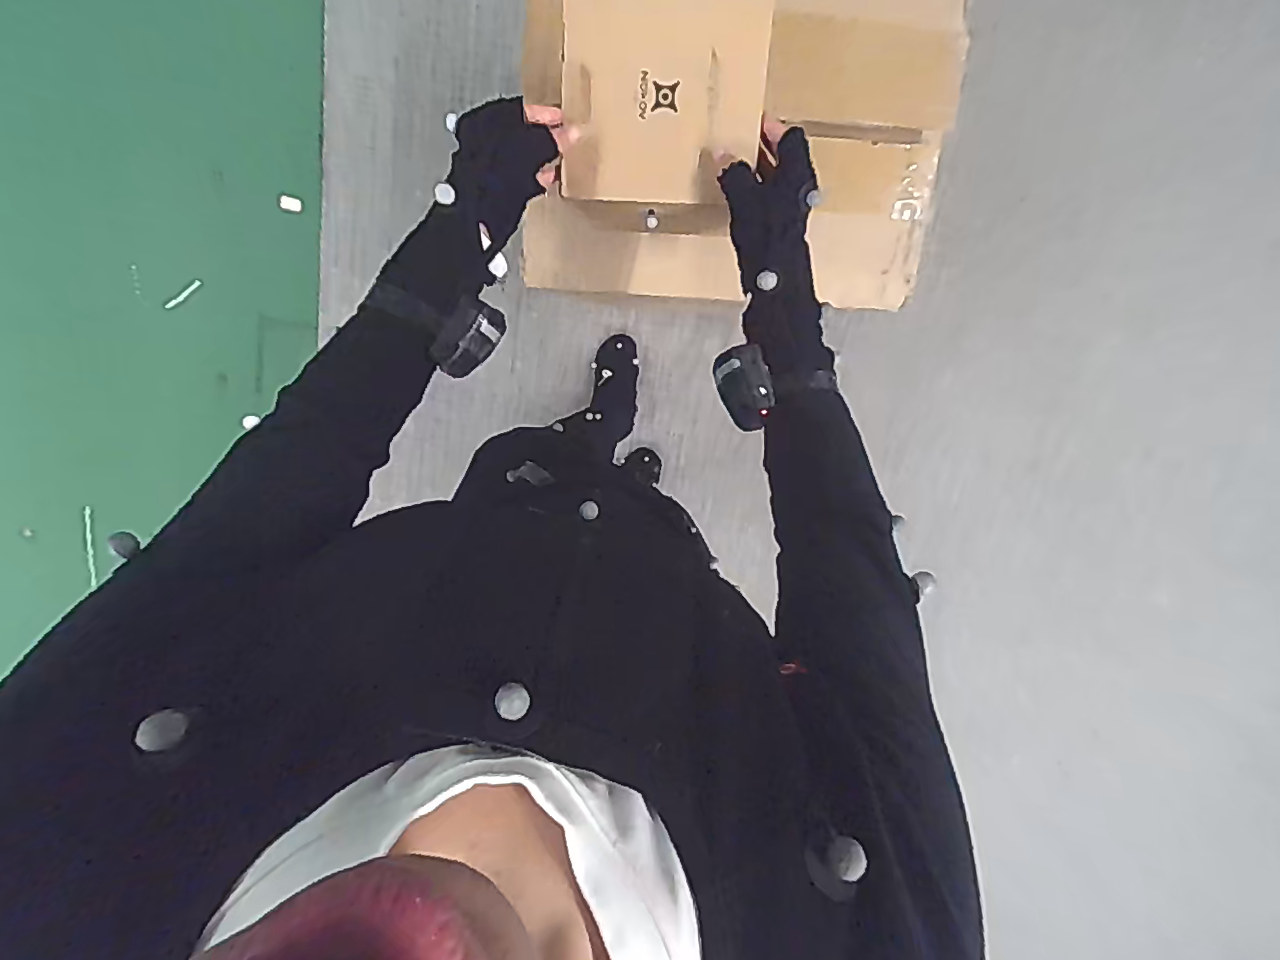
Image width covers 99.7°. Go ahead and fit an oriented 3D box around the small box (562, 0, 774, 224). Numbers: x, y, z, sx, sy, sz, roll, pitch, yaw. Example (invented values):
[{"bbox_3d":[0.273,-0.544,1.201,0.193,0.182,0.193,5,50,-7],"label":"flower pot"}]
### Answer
[{"bbox_3d":[0.025,-0.358,0.538,0.179,0.176,0.168,3,107,2],"label":"small box"}]
